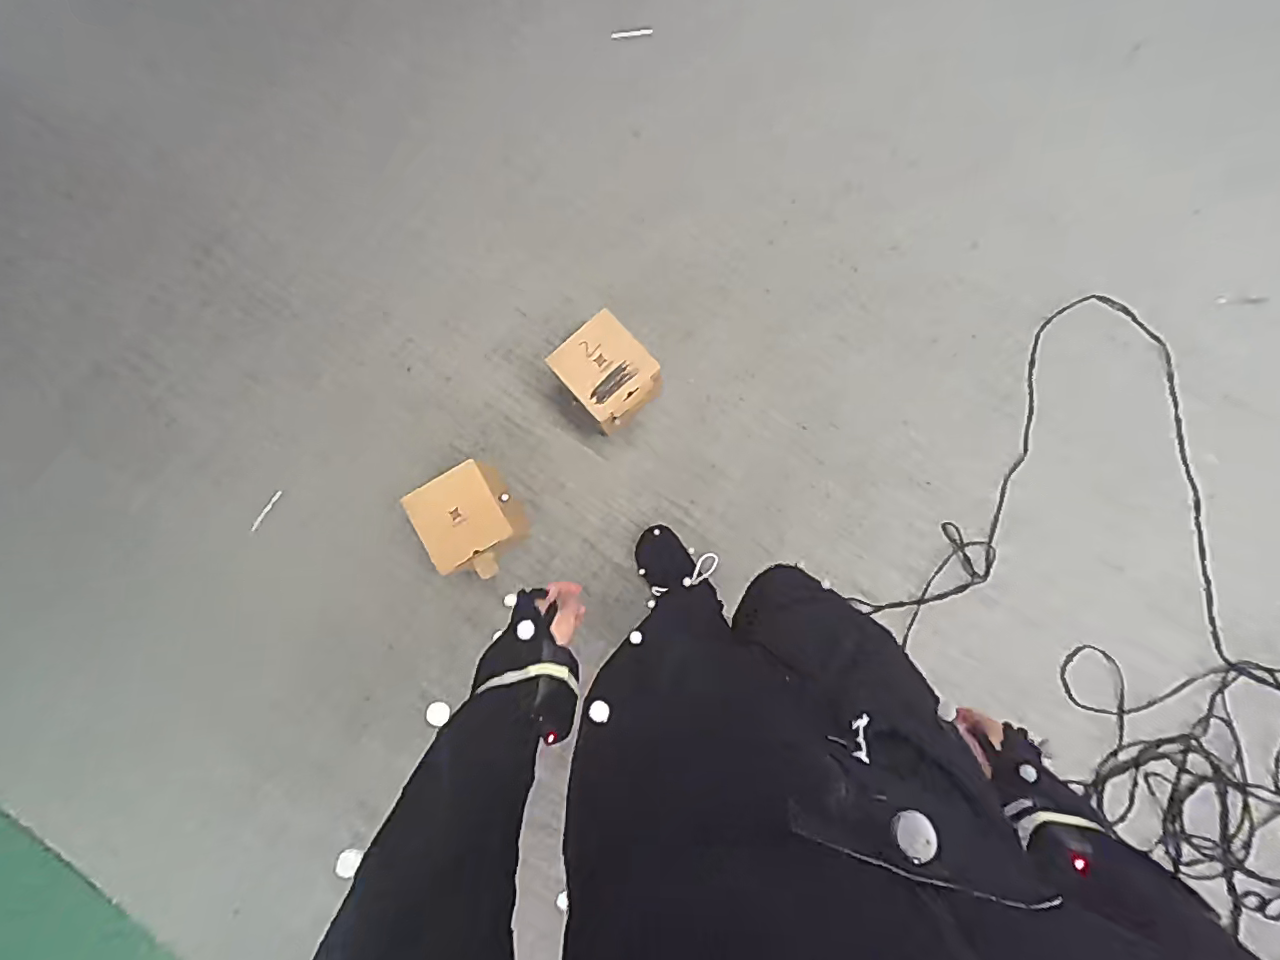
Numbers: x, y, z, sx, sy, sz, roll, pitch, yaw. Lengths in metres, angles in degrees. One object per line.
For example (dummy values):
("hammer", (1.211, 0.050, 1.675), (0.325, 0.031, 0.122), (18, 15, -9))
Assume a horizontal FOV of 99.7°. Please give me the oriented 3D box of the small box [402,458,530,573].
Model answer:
("small box", (-0.352, 0.076, 1.125), (0.168, 0.176, 0.179), (-30, 86, -1))
